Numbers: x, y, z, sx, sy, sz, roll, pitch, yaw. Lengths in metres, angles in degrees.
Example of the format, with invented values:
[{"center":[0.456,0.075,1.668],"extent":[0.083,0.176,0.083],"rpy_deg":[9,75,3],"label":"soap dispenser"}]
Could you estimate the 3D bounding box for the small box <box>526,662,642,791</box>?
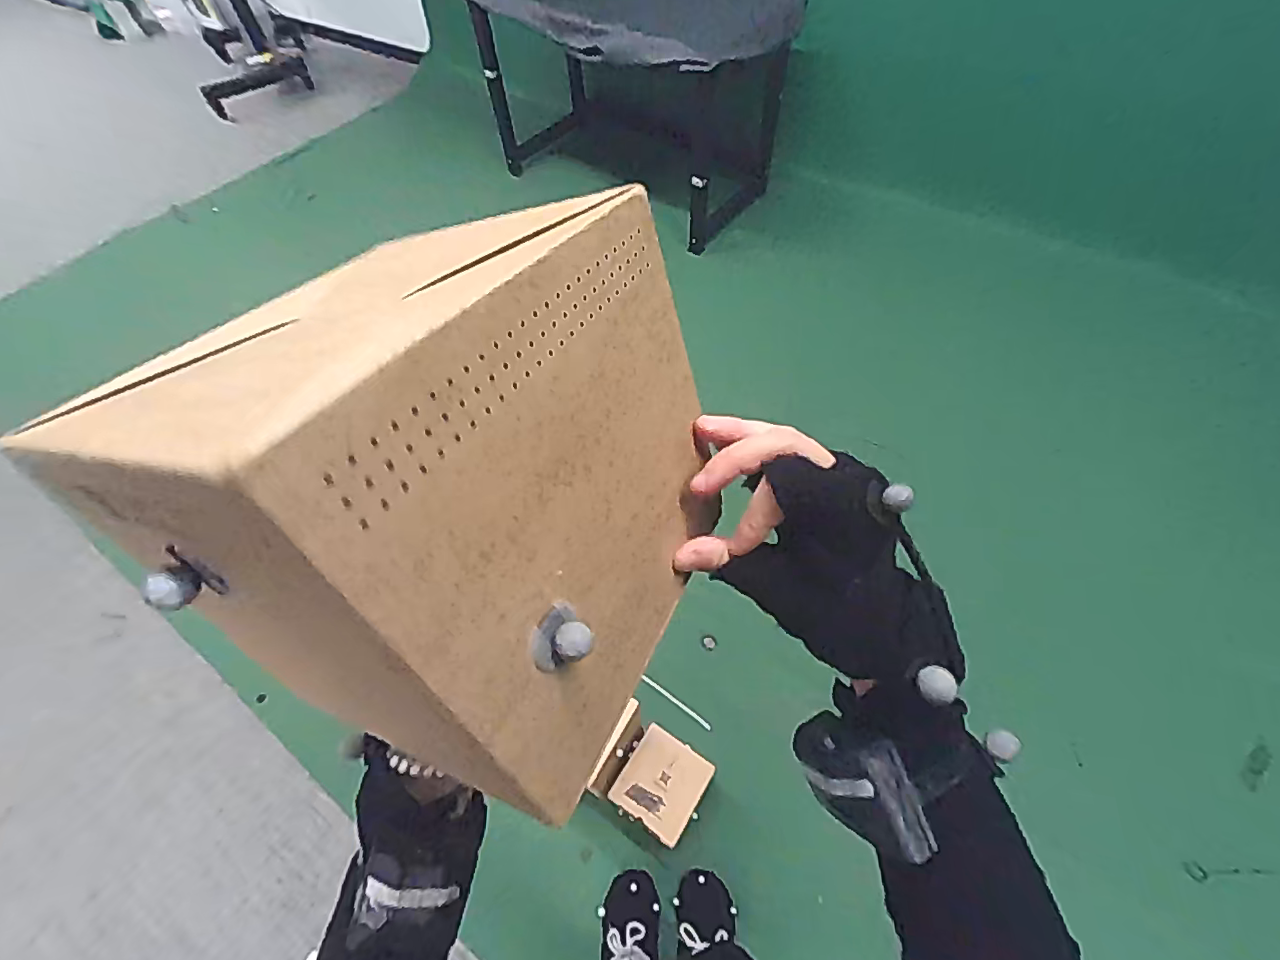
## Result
[{"center":[-0.108,0.515,1.123],"extent":[0.168,0.176,0.179],"rpy_deg":[26,62,18],"label":"small box"}]
